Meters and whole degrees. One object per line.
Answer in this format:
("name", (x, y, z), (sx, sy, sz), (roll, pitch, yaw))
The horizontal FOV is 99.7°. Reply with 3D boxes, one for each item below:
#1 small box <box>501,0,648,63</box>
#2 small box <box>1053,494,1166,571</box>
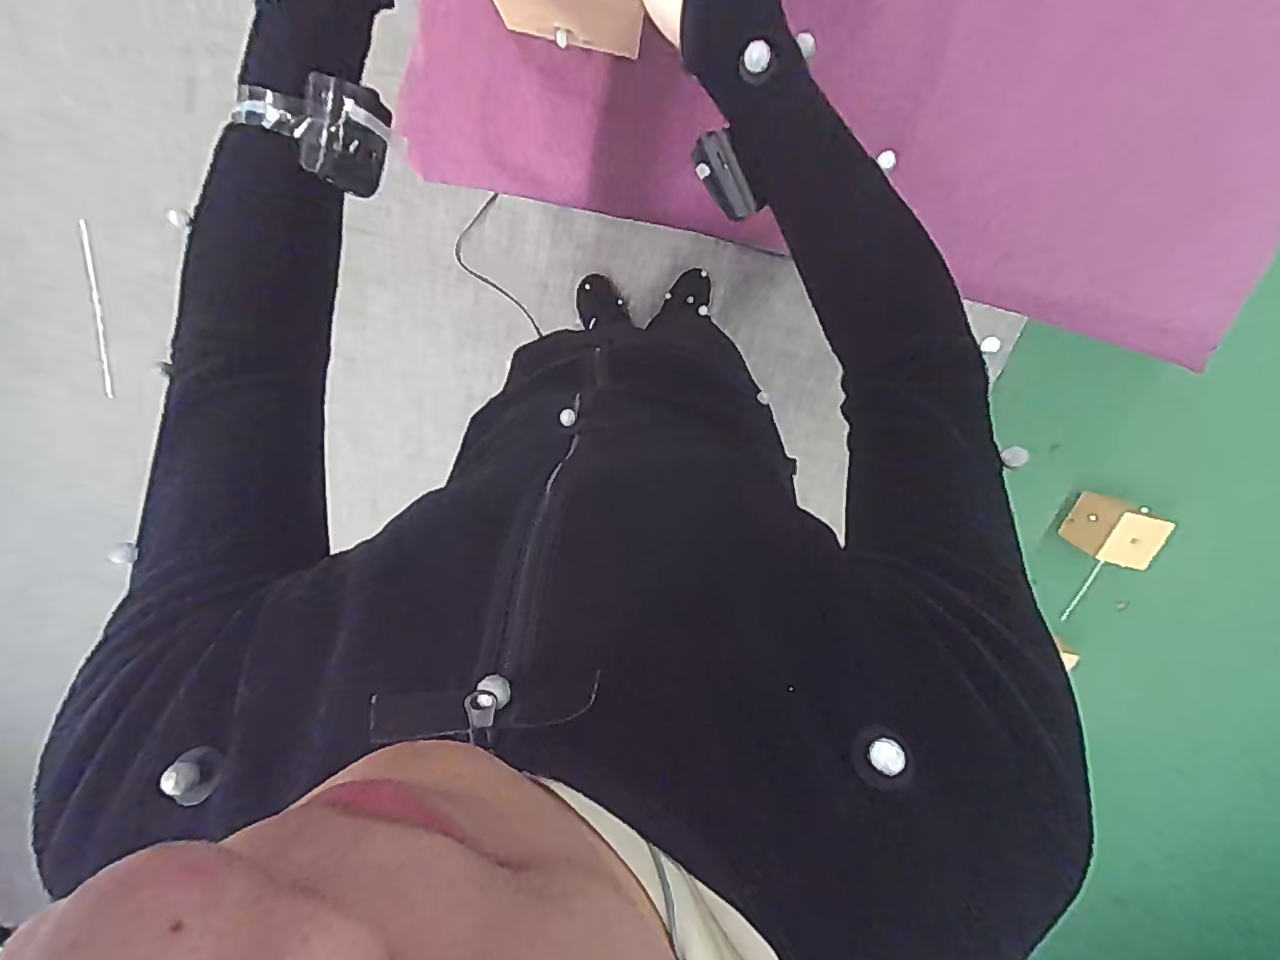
("small box", (-0.064, -0.588, 0.571), (0.168, 0.176, 0.179), (9, 112, -6))
("small box", (1.470, 0.159, 1.707), (0.179, 0.176, 0.168), (13, 111, -7))
